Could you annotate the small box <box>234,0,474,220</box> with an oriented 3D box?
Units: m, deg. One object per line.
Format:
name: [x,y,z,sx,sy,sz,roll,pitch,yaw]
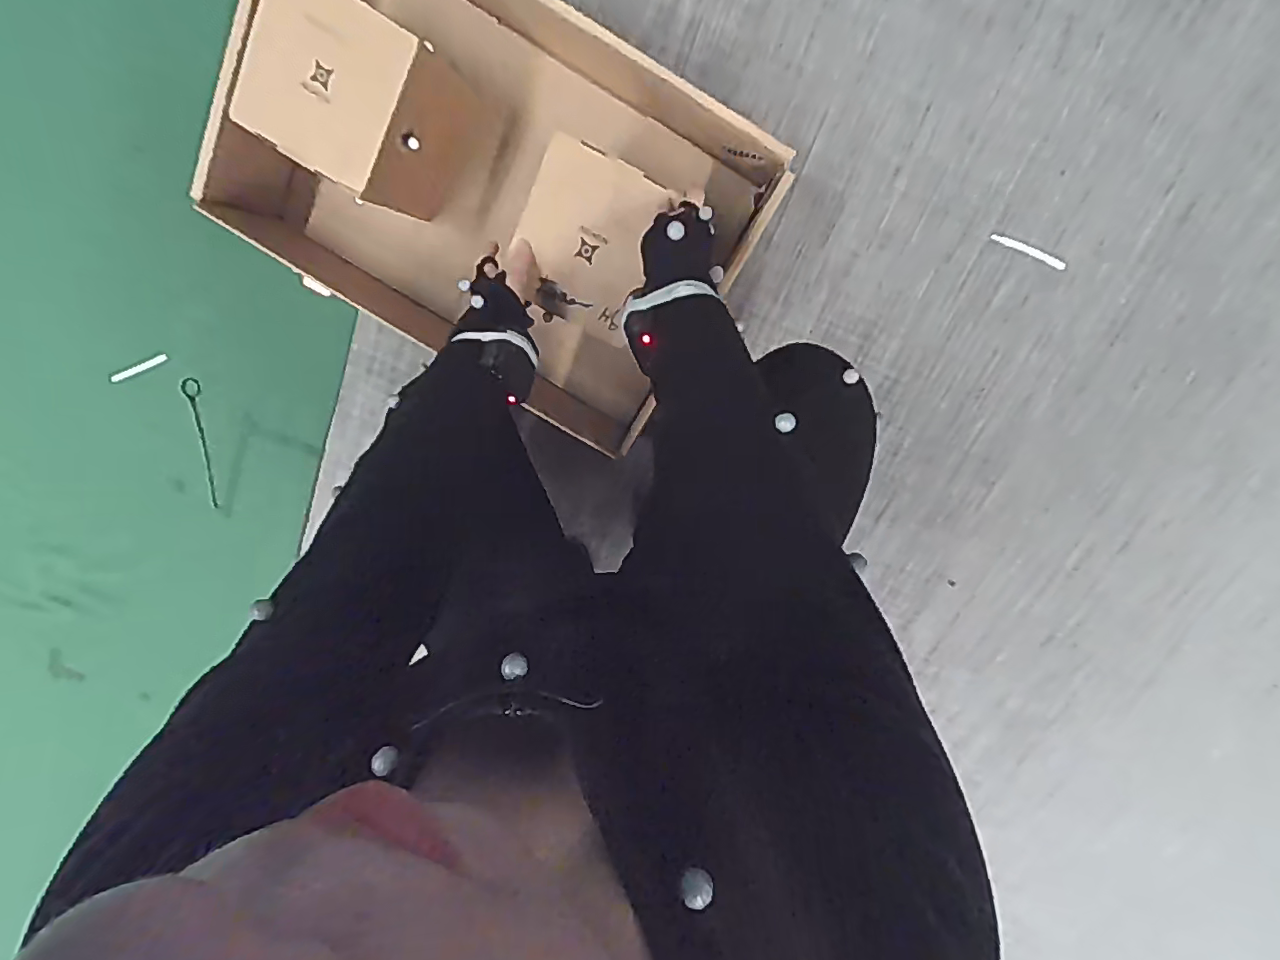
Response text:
small box: [-0.327,-0.443,0.651,0.168,0.176,0.179,32,107,-6]
